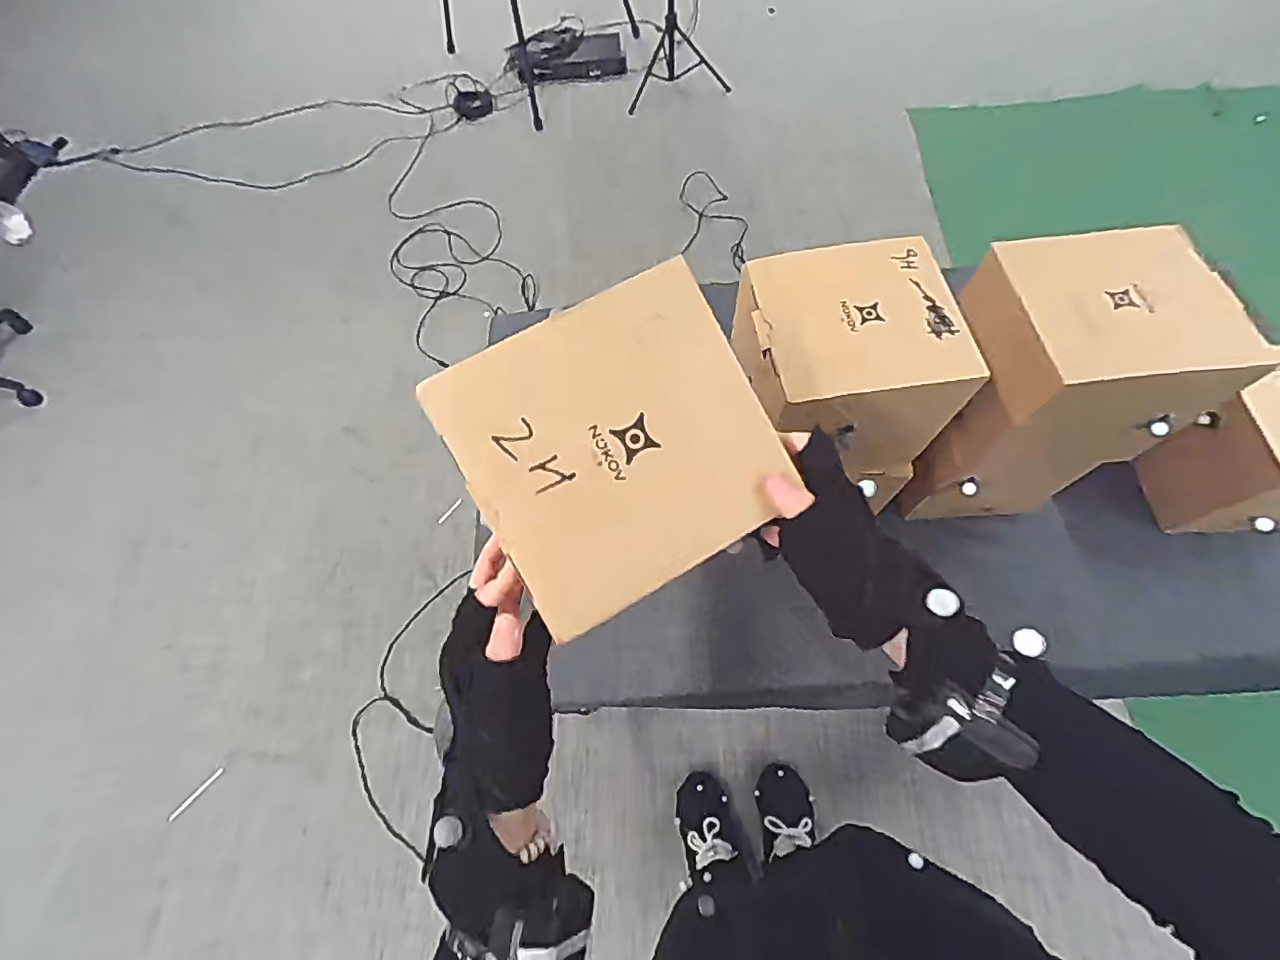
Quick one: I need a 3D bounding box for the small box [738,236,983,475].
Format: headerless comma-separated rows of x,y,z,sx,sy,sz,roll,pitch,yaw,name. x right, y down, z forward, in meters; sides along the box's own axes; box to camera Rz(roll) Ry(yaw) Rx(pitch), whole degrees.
0.199,-0.114,0.557,0.179,0.176,0.168,-9,66,1,small box

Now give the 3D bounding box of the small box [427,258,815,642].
-0.018,-0.019,0.387,0.179,0.176,0.168,-30,93,-8,small box
